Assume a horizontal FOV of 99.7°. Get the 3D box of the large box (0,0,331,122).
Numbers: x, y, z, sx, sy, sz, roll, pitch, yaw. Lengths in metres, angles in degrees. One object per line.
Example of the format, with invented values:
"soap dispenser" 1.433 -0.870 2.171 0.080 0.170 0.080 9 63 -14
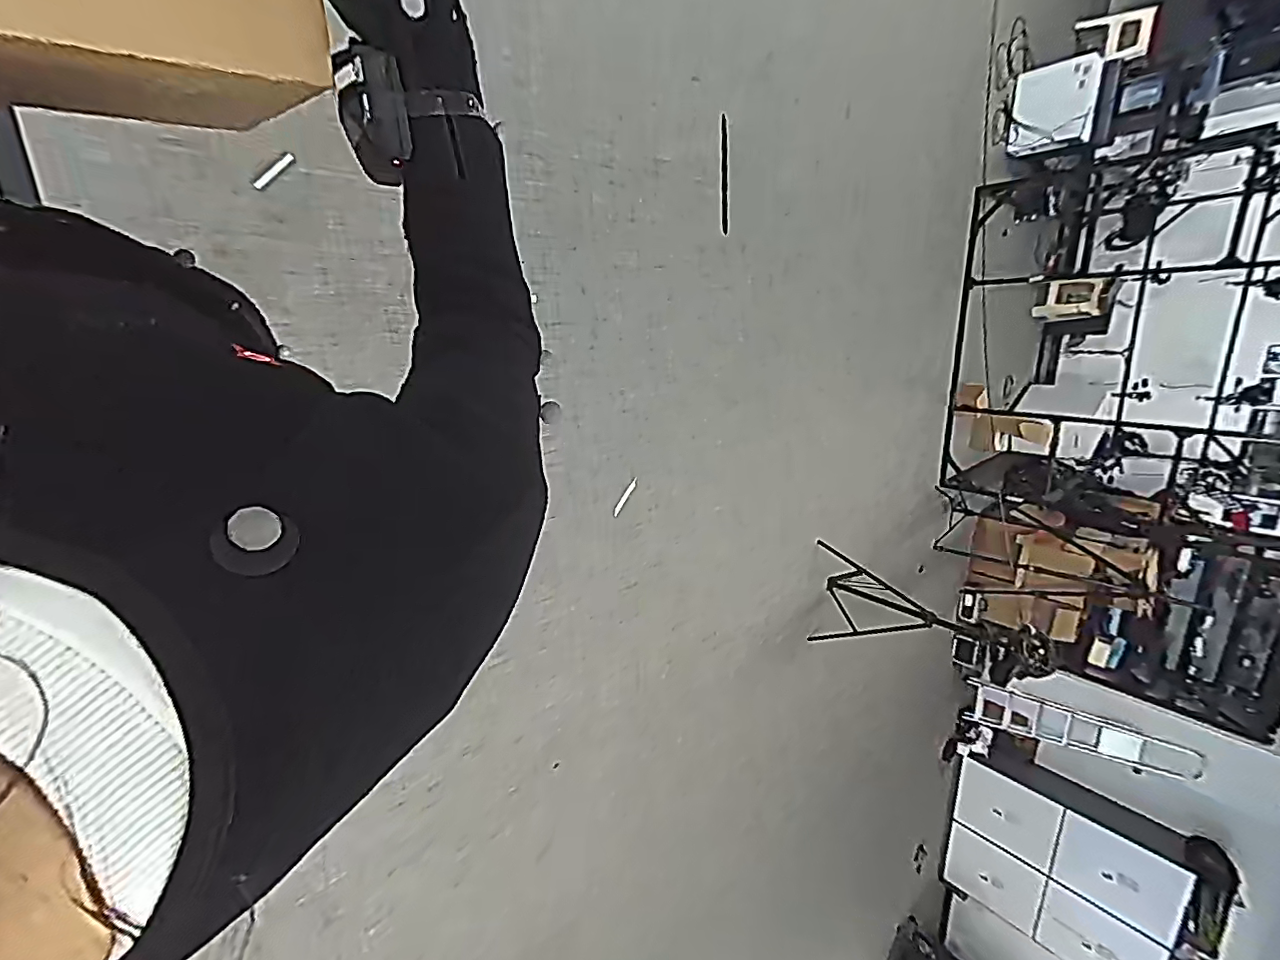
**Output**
"large box" -0.436 -0.383 0.252 0.408 0.320 0.320 -20 125 -38
